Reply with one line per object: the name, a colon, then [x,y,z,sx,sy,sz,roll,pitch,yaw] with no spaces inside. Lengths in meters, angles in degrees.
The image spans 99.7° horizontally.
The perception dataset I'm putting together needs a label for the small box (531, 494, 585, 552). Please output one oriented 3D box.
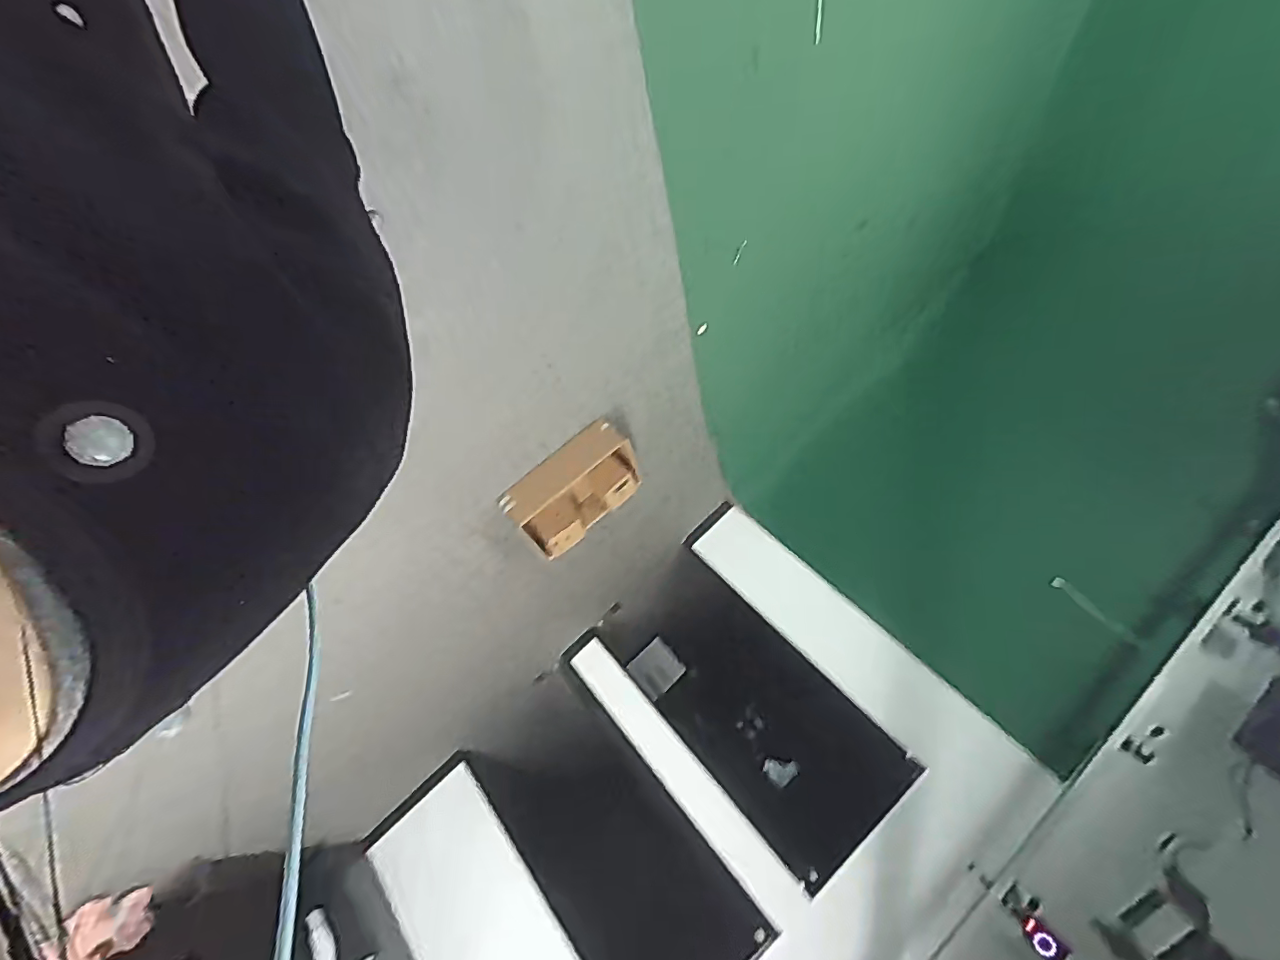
small box: [-0.385,0.200,2.549,0.179,0.176,0.168,-37,149,-20]
